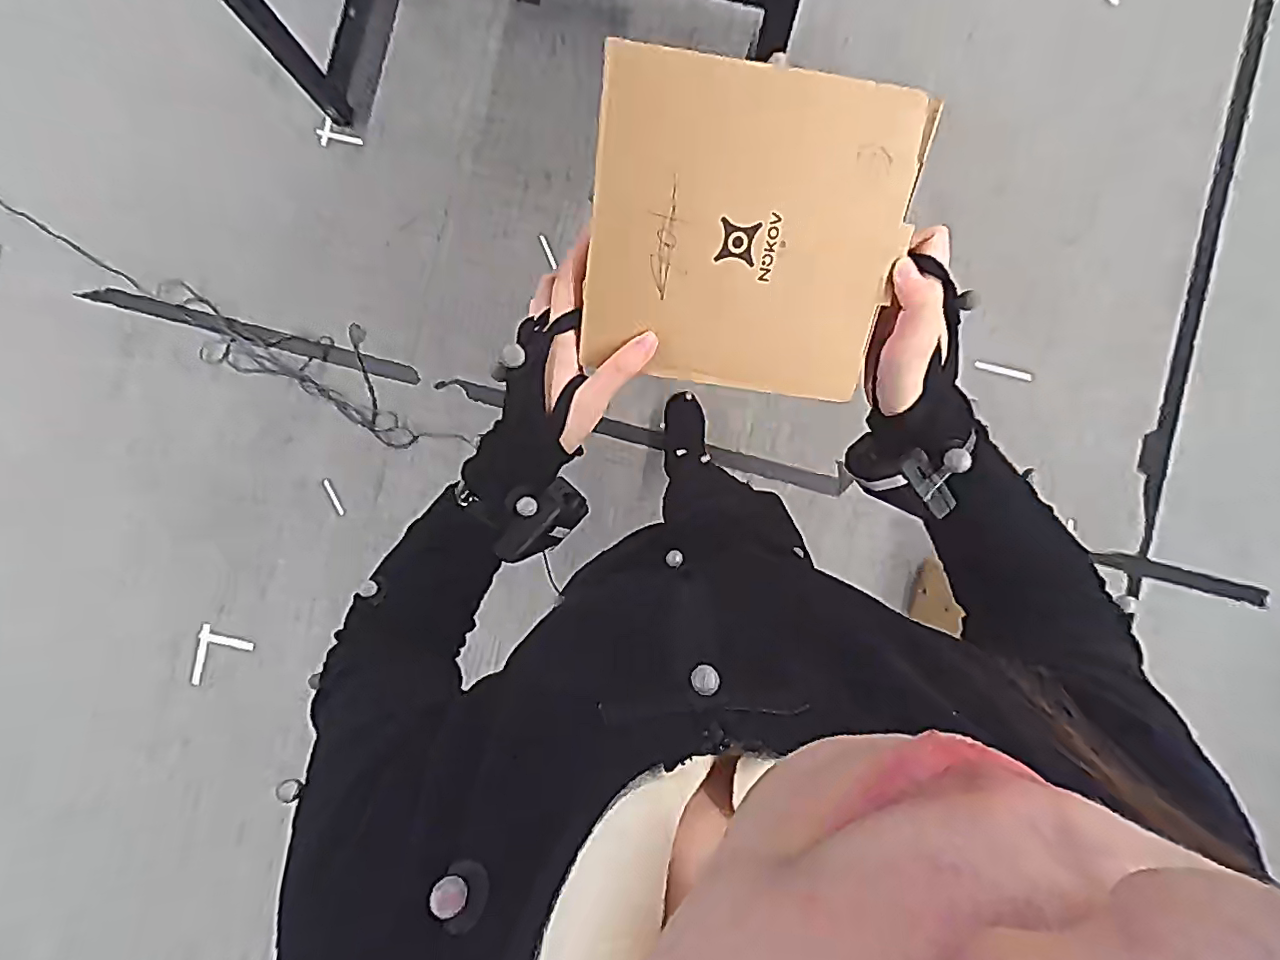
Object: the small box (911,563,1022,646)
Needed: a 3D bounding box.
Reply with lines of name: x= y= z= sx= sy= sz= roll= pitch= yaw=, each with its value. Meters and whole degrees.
small box: x=0.817 y=0.324 z=1.368 sx=0.168 sy=0.176 sz=0.179 roll=16 pitch=91 yaw=2
